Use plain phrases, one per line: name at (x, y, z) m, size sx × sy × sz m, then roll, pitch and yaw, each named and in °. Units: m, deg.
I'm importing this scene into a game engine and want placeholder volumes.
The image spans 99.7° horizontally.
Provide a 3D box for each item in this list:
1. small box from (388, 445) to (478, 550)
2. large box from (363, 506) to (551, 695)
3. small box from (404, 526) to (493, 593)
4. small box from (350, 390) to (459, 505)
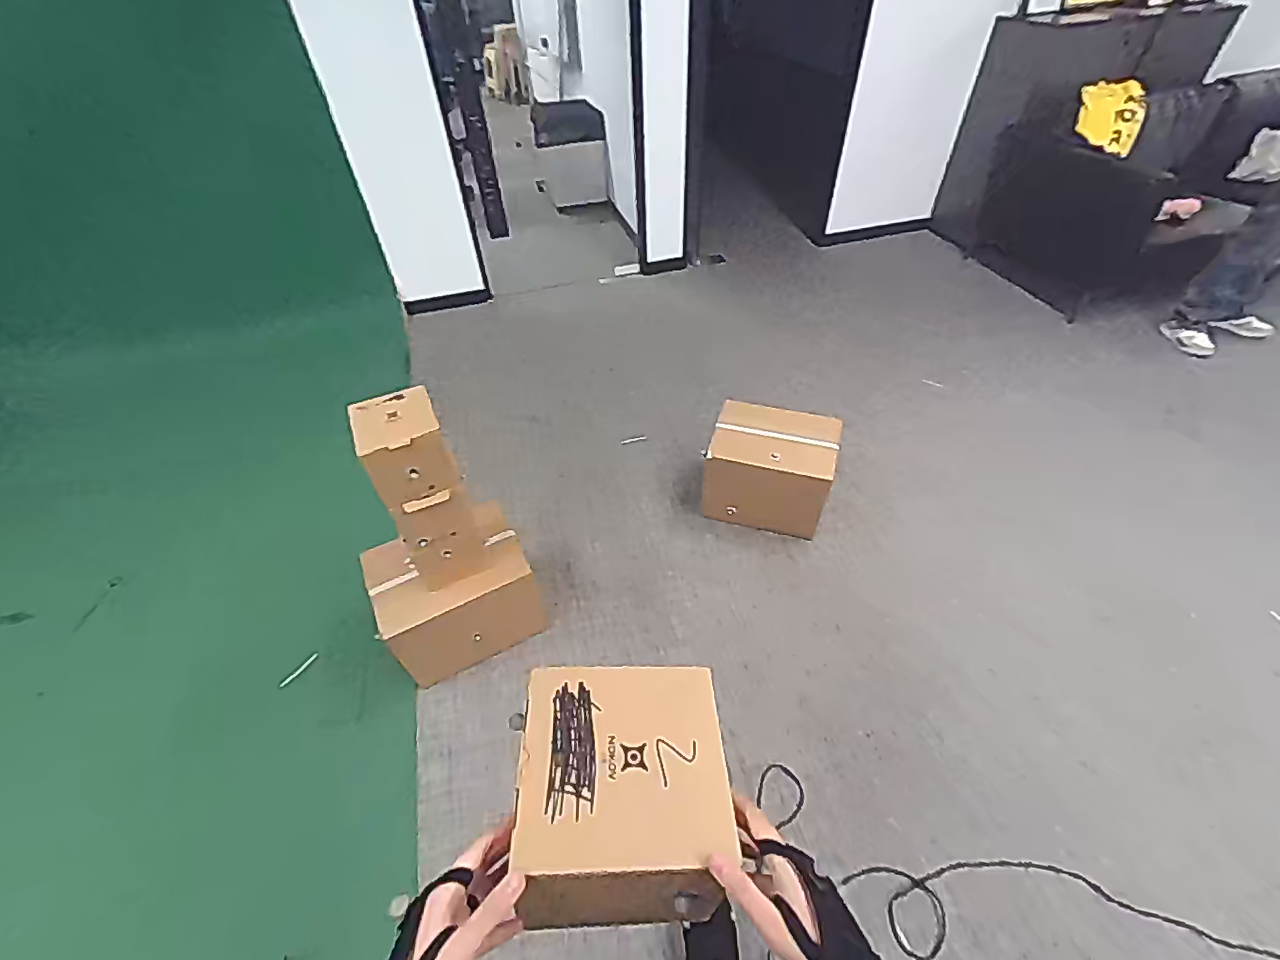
small box at (-0.508, 0.049, 1.320) m, size 0.168 × 0.176 × 0.179 m, roll -19°, pitch 49°, yaw -16°
large box at (-0.525, 0.351, 1.597) m, size 0.408 × 0.320 × 0.320 m, roll -25°, pitch 48°, yaw -18°
small box at (-0.510, 0.169, 1.432) m, size 0.179 × 0.176 × 0.168 m, roll -21°, pitch 50°, yaw -17°
small box at (-0.519, -0.066, 1.202) m, size 0.168 × 0.176 × 0.179 m, roll -20°, pitch 50°, yaw -17°
